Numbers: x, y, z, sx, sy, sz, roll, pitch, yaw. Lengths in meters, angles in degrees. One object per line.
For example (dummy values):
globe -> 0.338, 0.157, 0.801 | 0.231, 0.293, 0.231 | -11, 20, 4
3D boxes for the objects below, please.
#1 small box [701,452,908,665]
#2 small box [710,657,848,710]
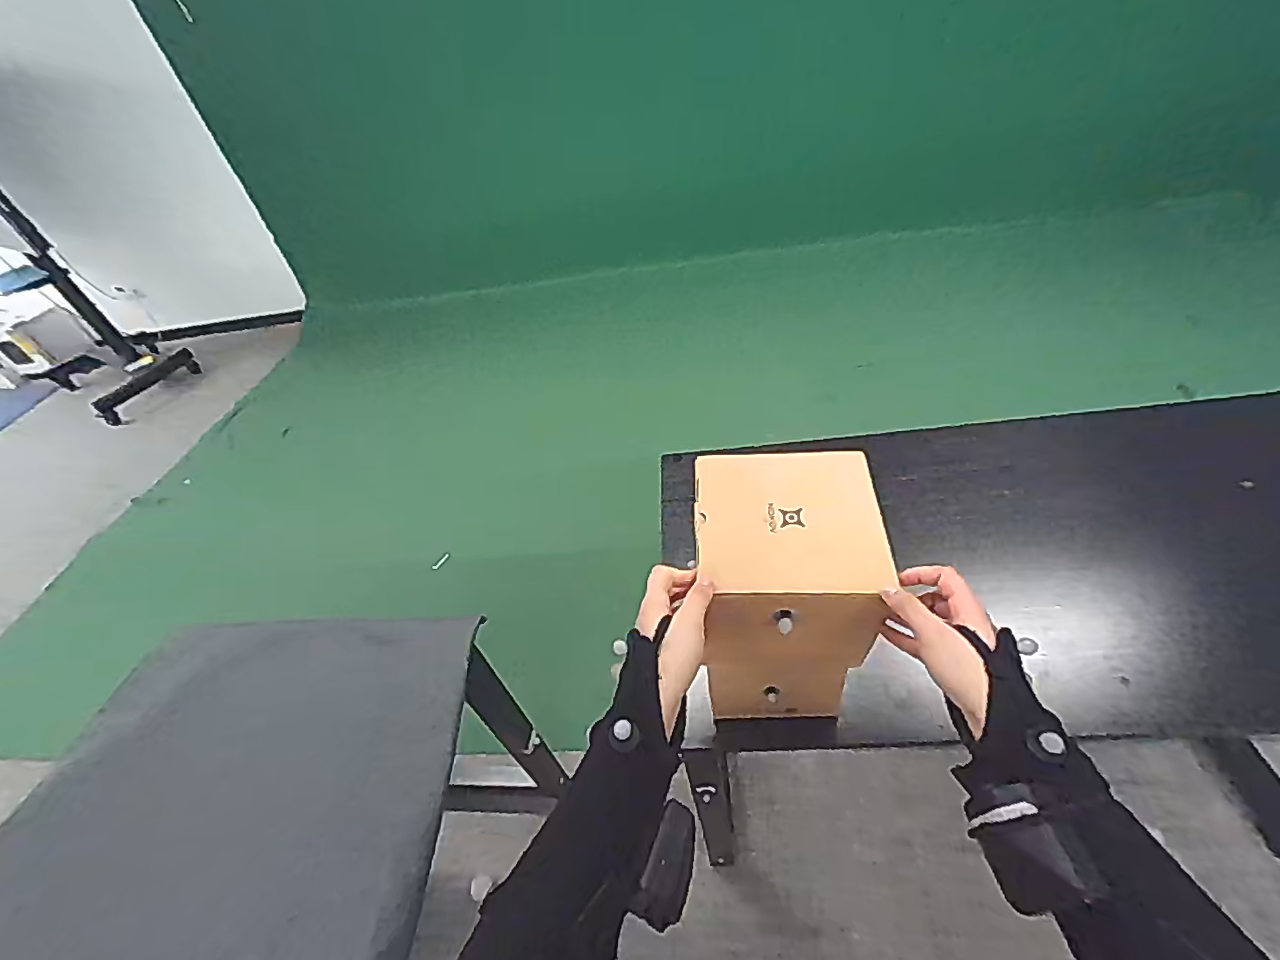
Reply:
small box -> 0.155, 0.087, 0.576 | 0.179, 0.176, 0.168 | -2, 50, 7
small box -> 0.177, 0.195, 0.728 | 0.168, 0.176, 0.179 | -4, 43, 7
